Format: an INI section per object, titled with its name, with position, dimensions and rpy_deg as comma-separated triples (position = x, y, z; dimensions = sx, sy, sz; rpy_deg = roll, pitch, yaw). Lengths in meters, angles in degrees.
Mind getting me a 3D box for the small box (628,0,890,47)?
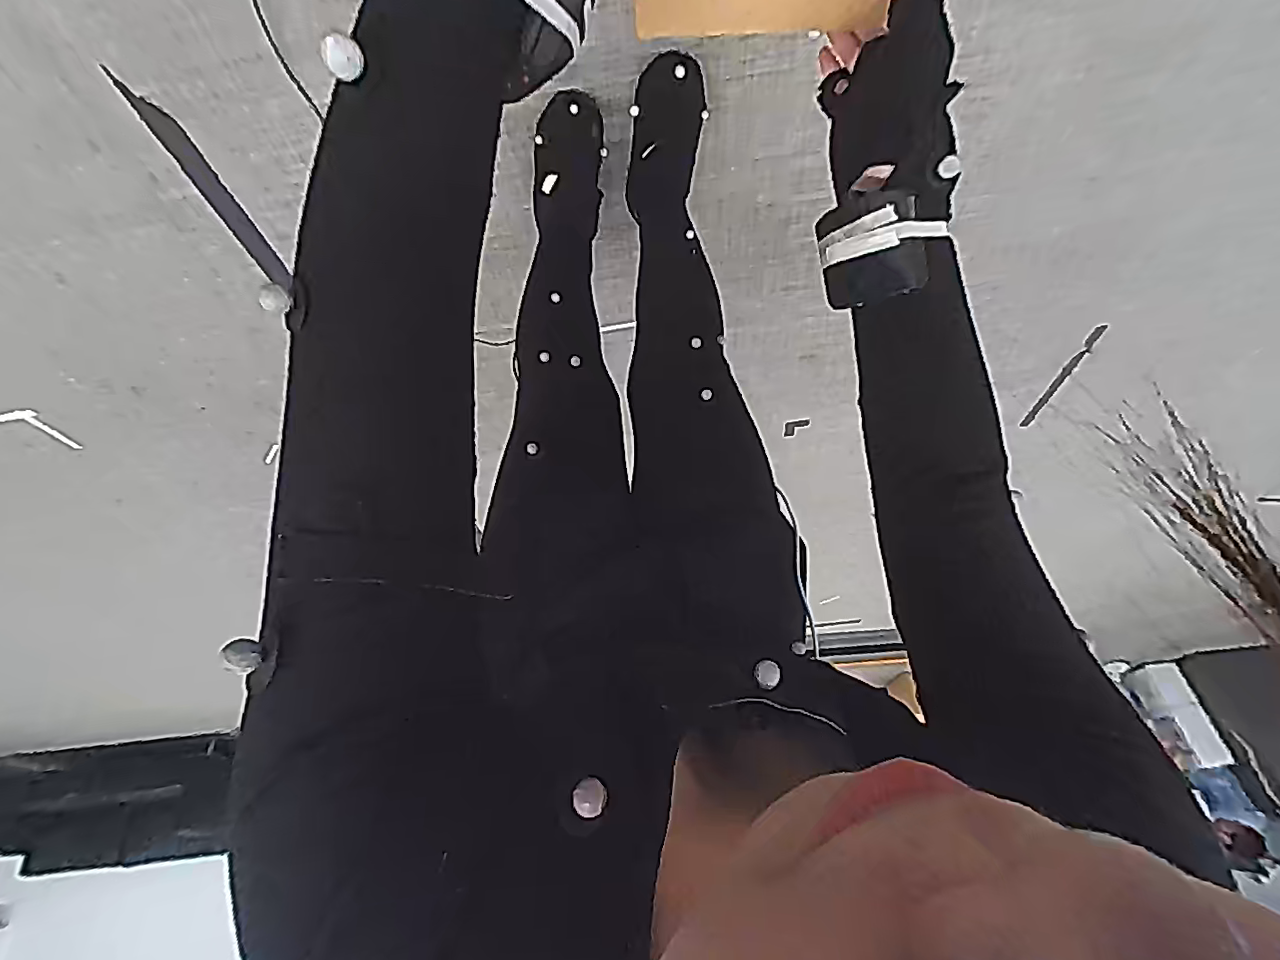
[small box]
position = 0.075, -0.415, 0.355
dimensions = 0.179, 0.176, 0.168
rpy_deg = -4, 147, -1
